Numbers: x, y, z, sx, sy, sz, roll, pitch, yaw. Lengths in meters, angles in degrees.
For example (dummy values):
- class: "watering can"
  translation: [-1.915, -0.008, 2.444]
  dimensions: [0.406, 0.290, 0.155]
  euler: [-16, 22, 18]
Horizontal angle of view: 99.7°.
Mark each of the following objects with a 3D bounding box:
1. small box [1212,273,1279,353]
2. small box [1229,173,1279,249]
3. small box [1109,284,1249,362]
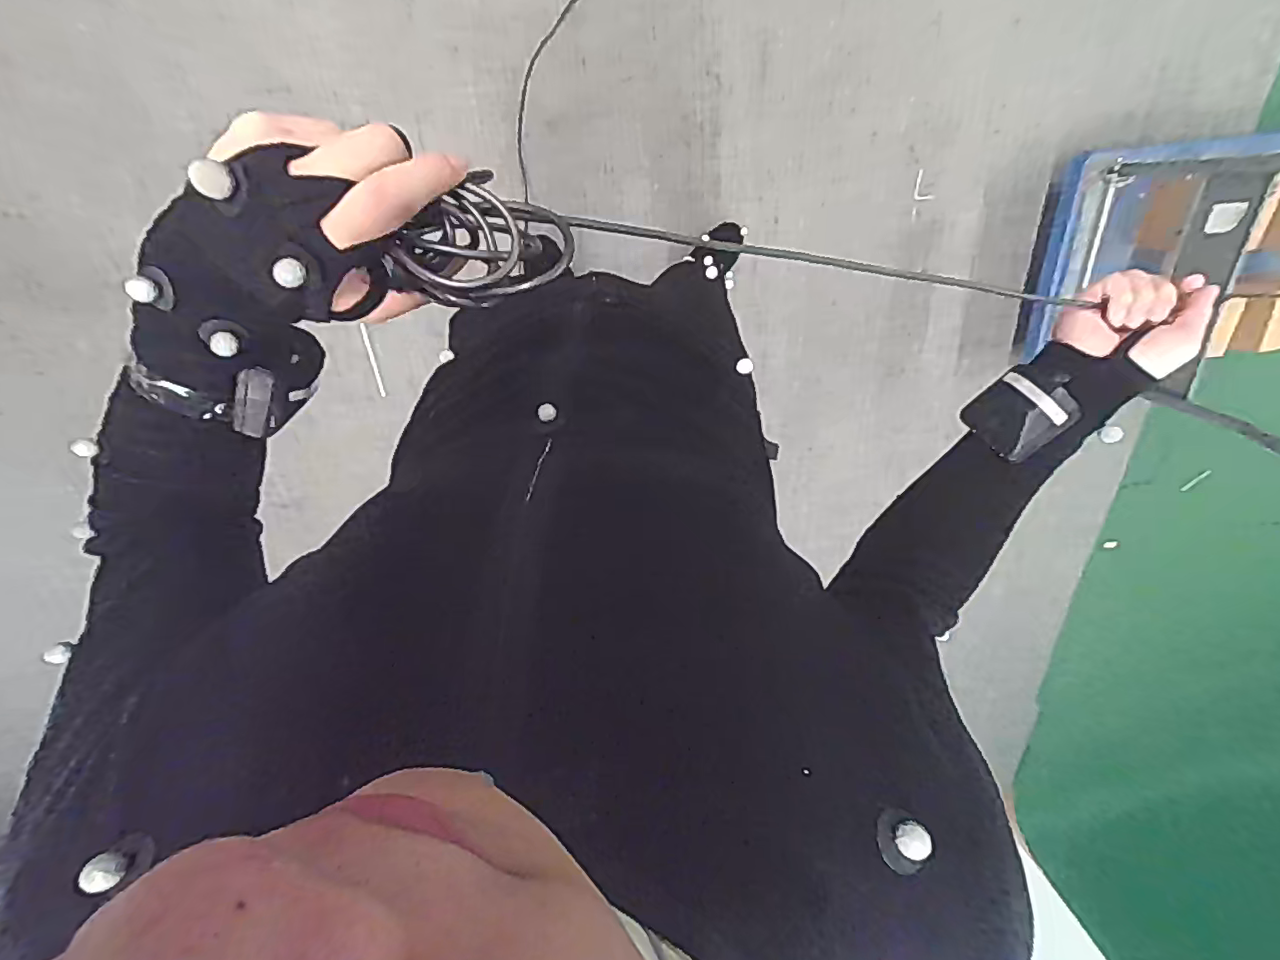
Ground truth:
- class: "small box"
  translation: [1.702, -0.460, 1.473]
  dimensions: [0.179, 0.176, 0.168]
  euler: [-10, 117, -2]
- class: "small box"
  translation: [1.664, -0.679, 1.356]
  dimensions: [0.179, 0.176, 0.168]
  euler: [-11, 119, -3]
- class: "small box"
  translation: [1.435, -0.425, 1.453]
  dimensions: [0.179, 0.176, 0.168]
  euler: [-6, 118, -4]
